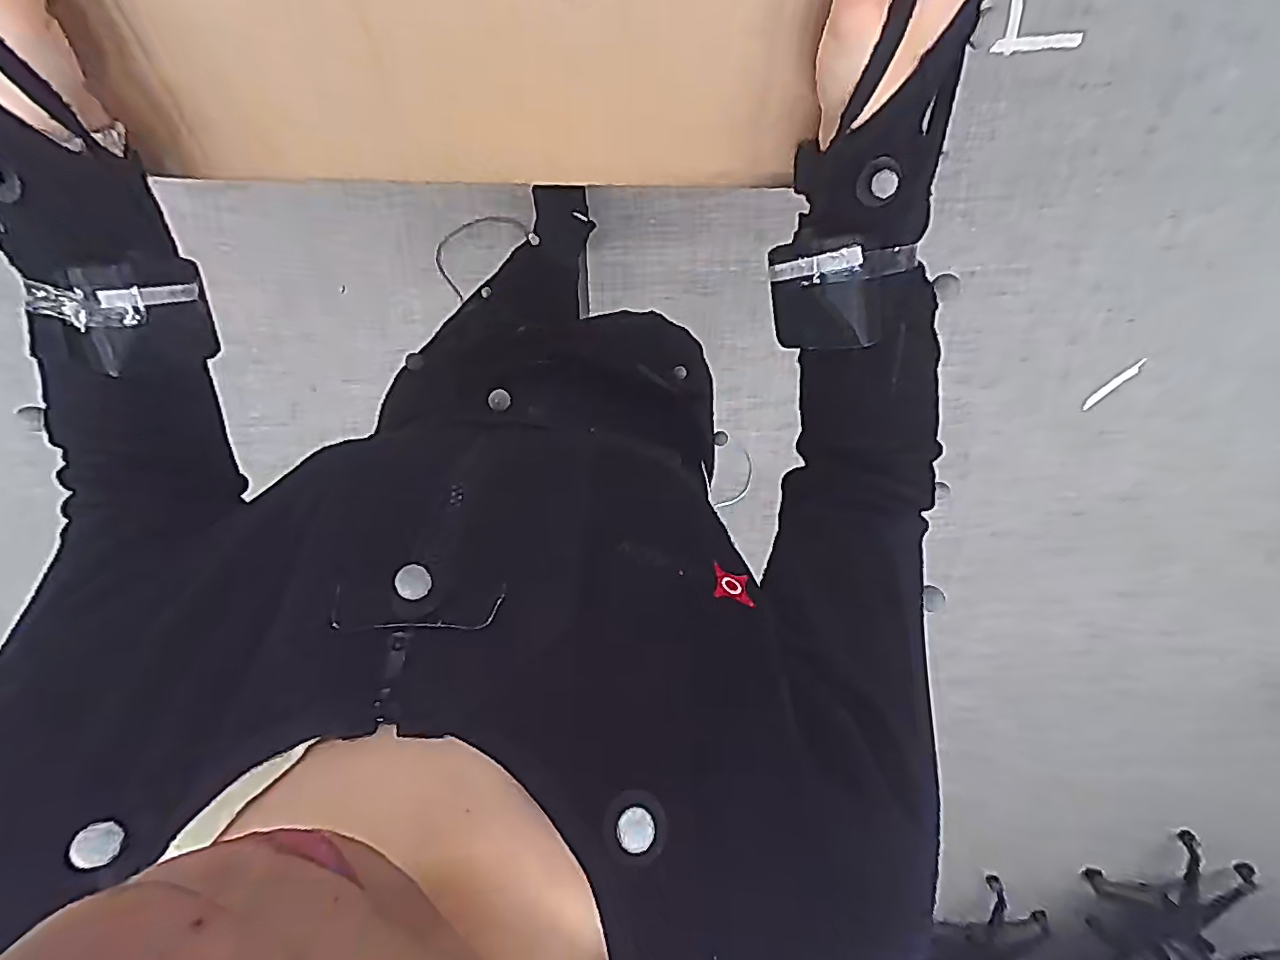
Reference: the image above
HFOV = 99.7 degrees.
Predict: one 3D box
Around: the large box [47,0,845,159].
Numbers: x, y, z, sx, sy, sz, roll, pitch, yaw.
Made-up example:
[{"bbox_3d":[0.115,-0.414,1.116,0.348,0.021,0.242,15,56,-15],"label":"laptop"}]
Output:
[{"bbox_3d":[-0.097,-0.407,0.298,0.408,0.320,0.320,0,143,-1],"label":"large box"}]
